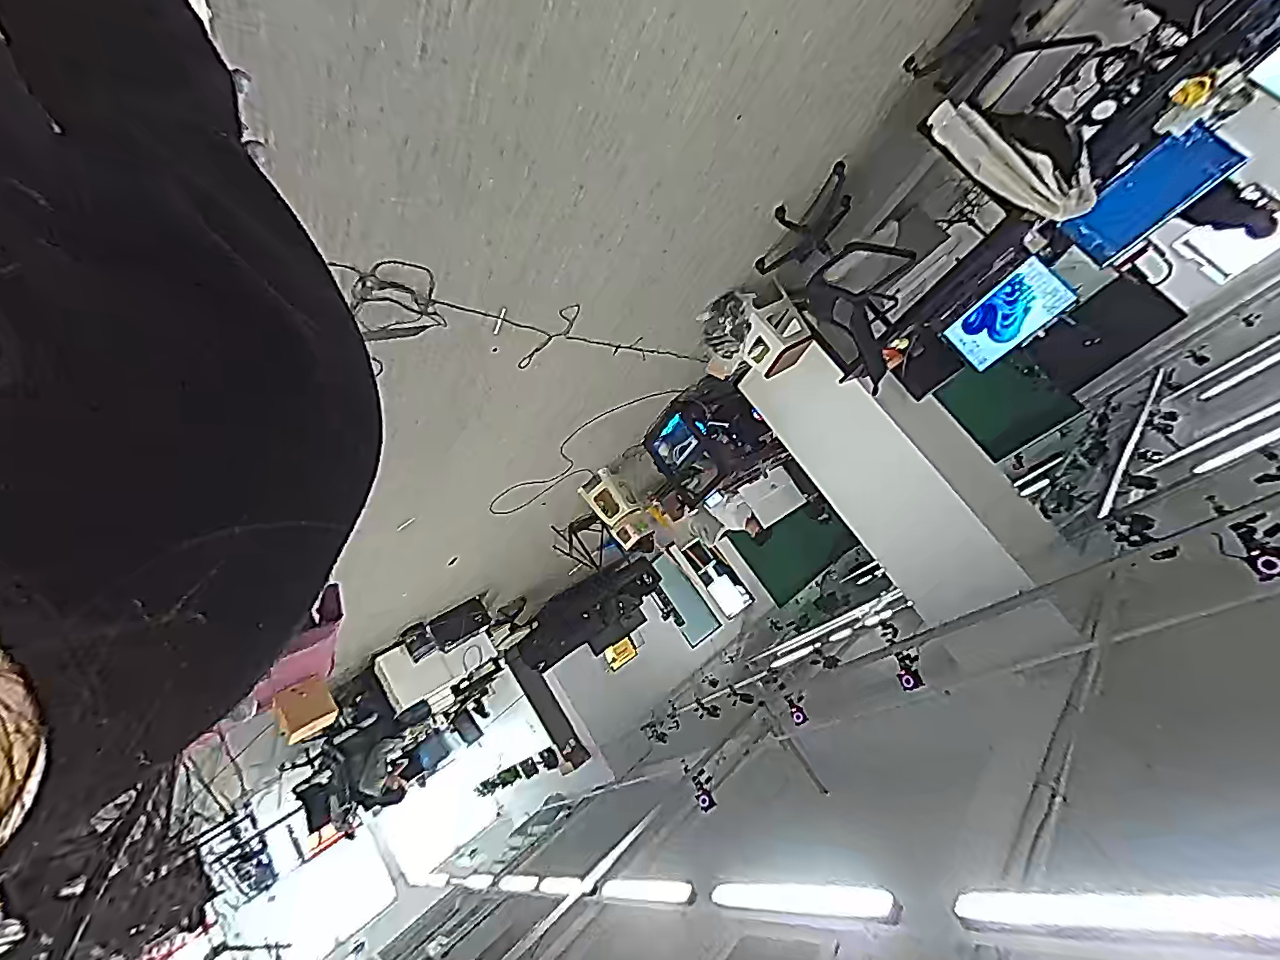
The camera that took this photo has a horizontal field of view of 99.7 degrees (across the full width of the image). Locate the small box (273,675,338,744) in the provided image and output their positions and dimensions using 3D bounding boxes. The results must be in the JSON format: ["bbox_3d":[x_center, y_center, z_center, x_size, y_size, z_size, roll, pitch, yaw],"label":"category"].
[{"bbox_3d":[-1.312,0.892,2.114,0.168,0.176,0.179,-22,159,-45],"label":"small box"}]
